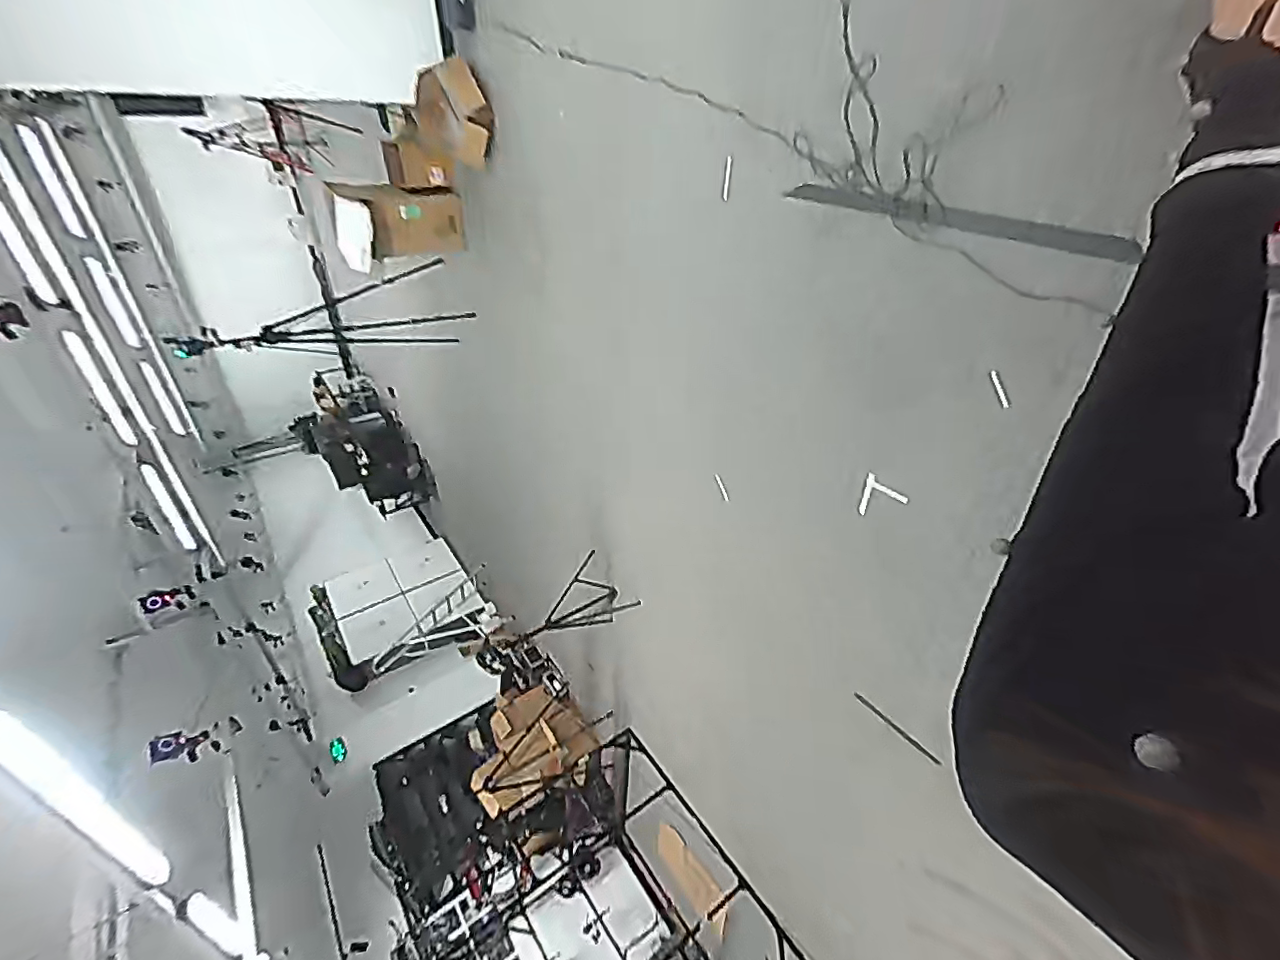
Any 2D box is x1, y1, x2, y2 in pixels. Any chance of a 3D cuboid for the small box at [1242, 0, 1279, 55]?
[{"bbox_3d":[0.578,-0.461,0.395,0.179,0.176,0.168,-7,105,45],"label":"small box"}]
